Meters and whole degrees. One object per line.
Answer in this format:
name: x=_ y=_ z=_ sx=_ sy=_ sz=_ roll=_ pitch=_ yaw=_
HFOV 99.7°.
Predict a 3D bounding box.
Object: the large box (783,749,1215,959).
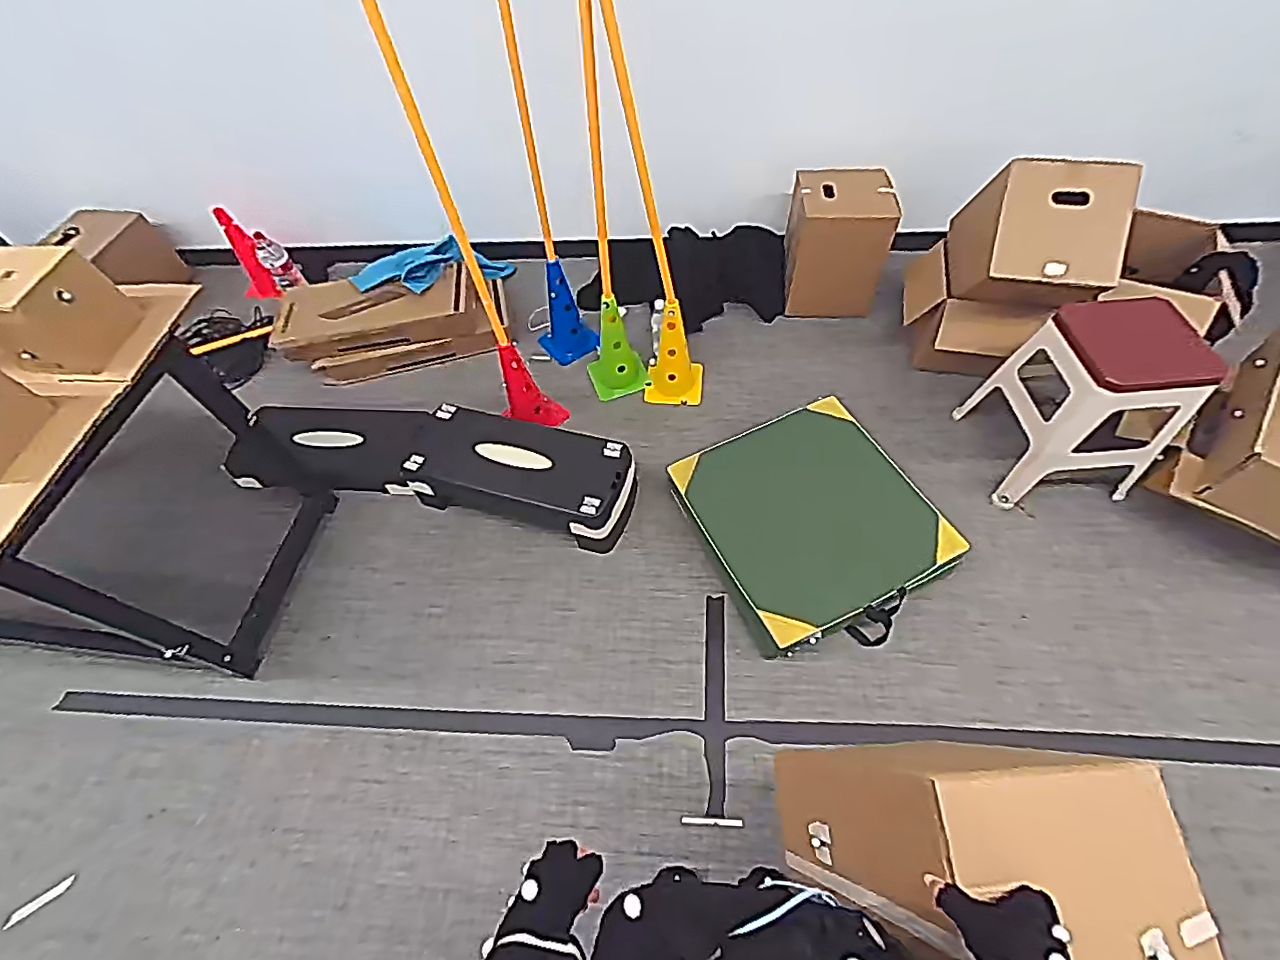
large box: x=0.441 y=0.560 z=0.747 sx=0.320 sy=0.408 sz=0.320 roll=3 pitch=67 yaw=-10
